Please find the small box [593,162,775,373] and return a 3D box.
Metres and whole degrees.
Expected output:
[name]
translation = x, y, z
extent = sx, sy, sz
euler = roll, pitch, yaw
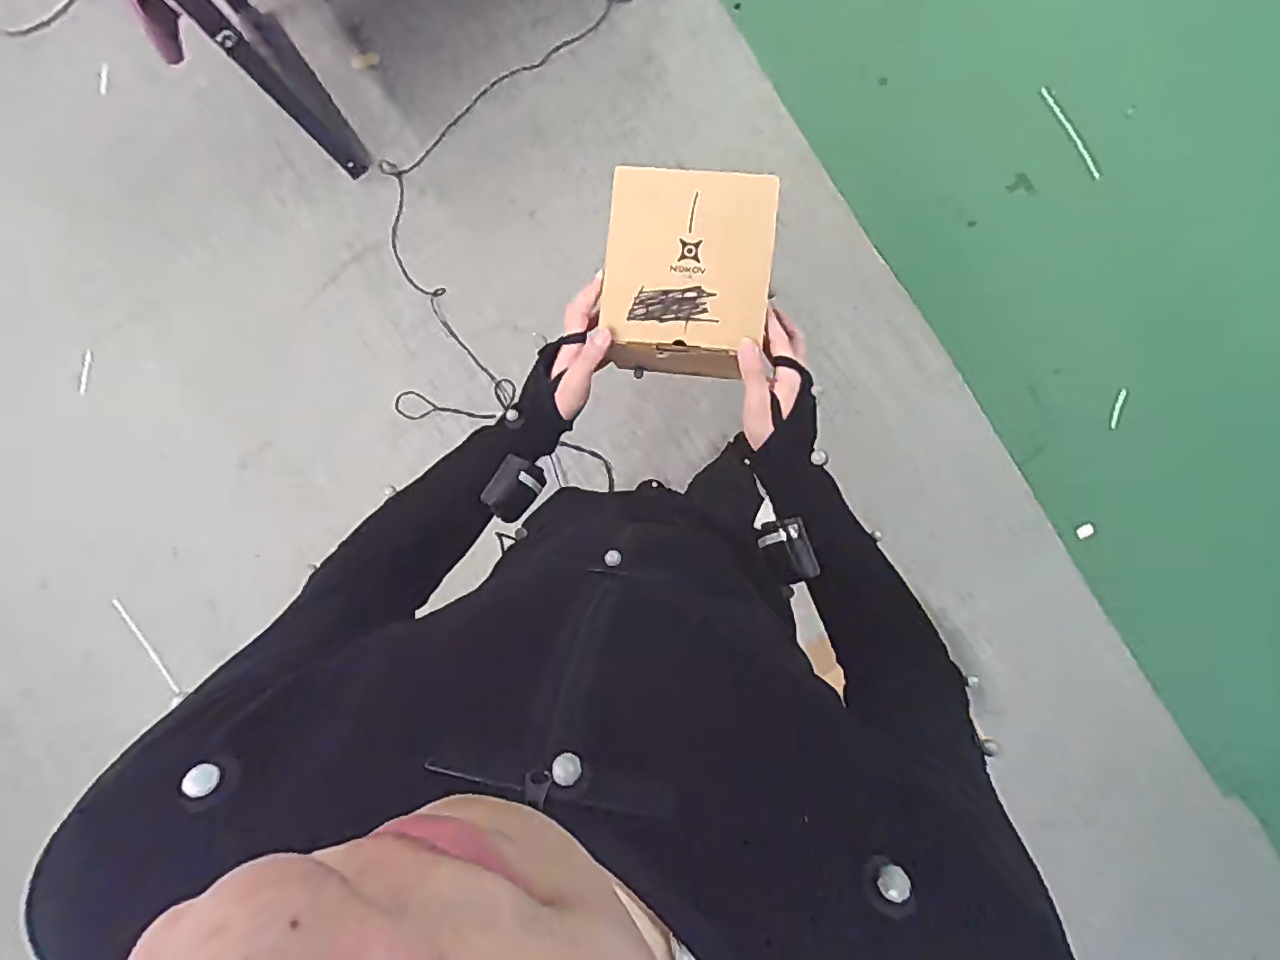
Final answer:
[small box]
translation = 0.048, -0.223, 0.610
extent = 0.168, 0.176, 0.179
euler = 6, 92, 4
